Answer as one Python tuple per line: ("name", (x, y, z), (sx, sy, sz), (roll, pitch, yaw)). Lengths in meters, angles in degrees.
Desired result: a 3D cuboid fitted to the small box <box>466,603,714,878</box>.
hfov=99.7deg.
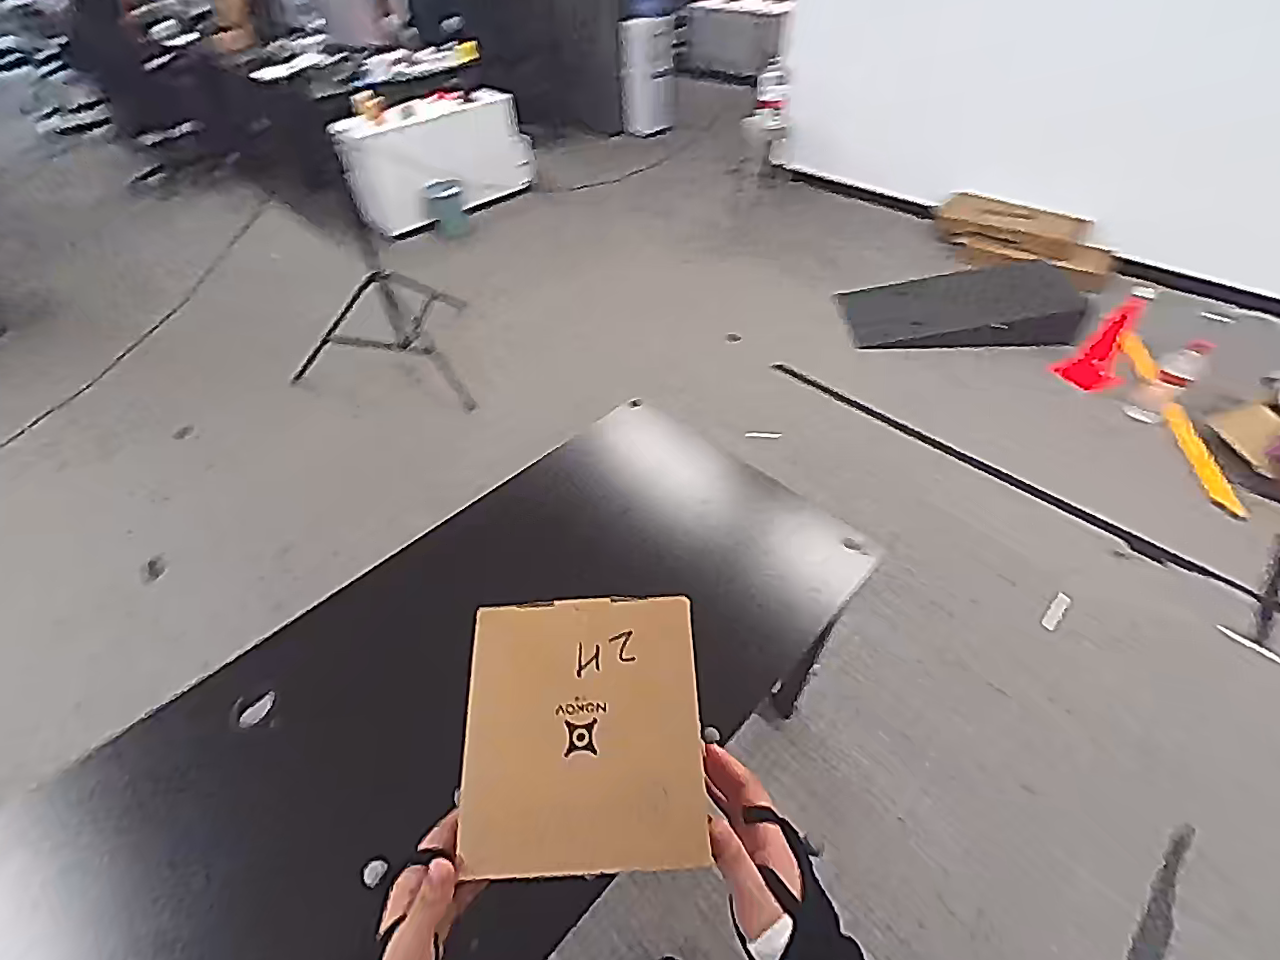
("small box", (-0.028, 0.213, 0.453), (0.168, 0.176, 0.179), (-2, 61, 2))
